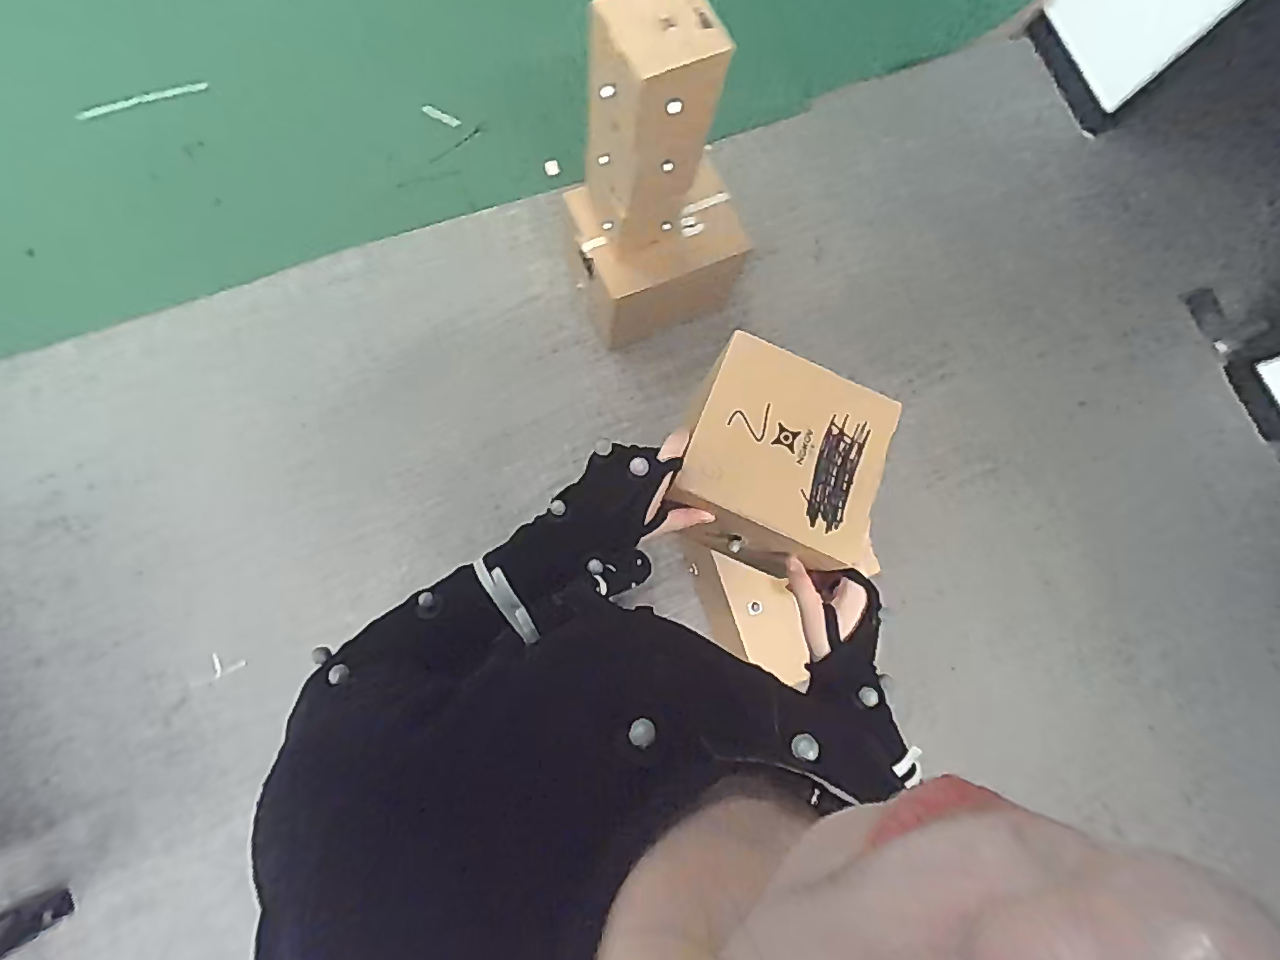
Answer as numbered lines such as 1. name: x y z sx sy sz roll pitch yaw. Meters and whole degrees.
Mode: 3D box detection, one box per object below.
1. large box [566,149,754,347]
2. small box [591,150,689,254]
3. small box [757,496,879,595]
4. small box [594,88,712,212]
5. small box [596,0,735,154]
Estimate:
1. large box: 0.037 -0.629 1.511 0.408 0.320 0.320 -23 84 -10
2. small box: -0.007 -0.658 1.262 0.168 0.176 0.179 -24 83 -10
3. small box: 0.370 0.146 1.169 0.179 0.176 0.168 -16 83 -11
4. small box: 0.018 -0.687 1.103 0.179 0.176 0.168 -28 85 -11
5. small box: 0.035 -0.712 0.941 0.179 0.176 0.168 -26 84 -10
